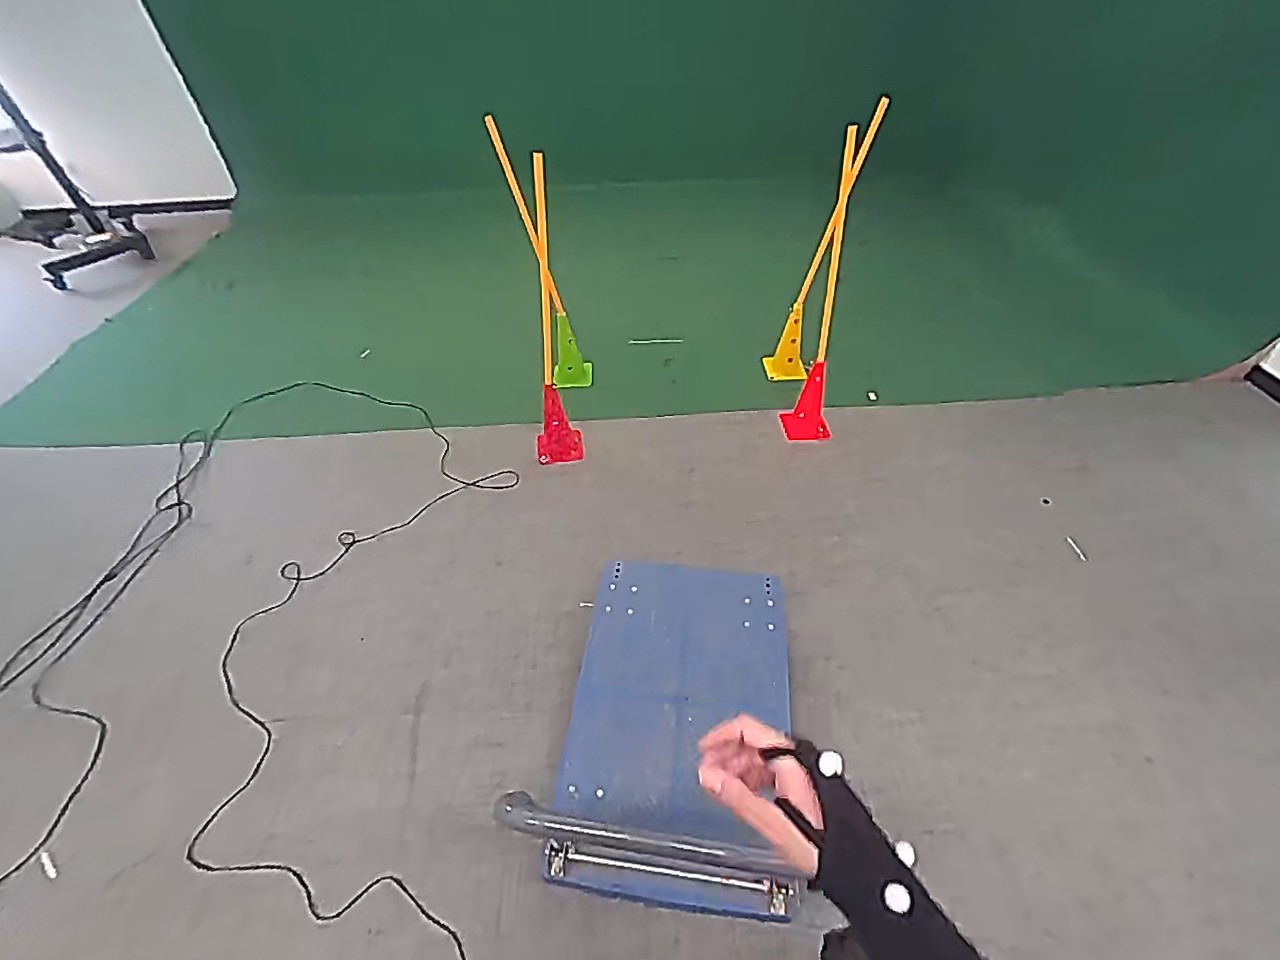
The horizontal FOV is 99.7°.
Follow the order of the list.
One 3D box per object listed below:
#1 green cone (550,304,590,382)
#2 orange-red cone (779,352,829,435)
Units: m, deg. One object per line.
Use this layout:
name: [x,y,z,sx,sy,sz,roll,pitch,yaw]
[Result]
green cone: [-0.364,-0.688,2.661,0.200,0.368,0.202,-4,45,0]
orange-red cone: [0.743,-0.390,2.341,0.198,0.360,0.199,-2,45,-1]
